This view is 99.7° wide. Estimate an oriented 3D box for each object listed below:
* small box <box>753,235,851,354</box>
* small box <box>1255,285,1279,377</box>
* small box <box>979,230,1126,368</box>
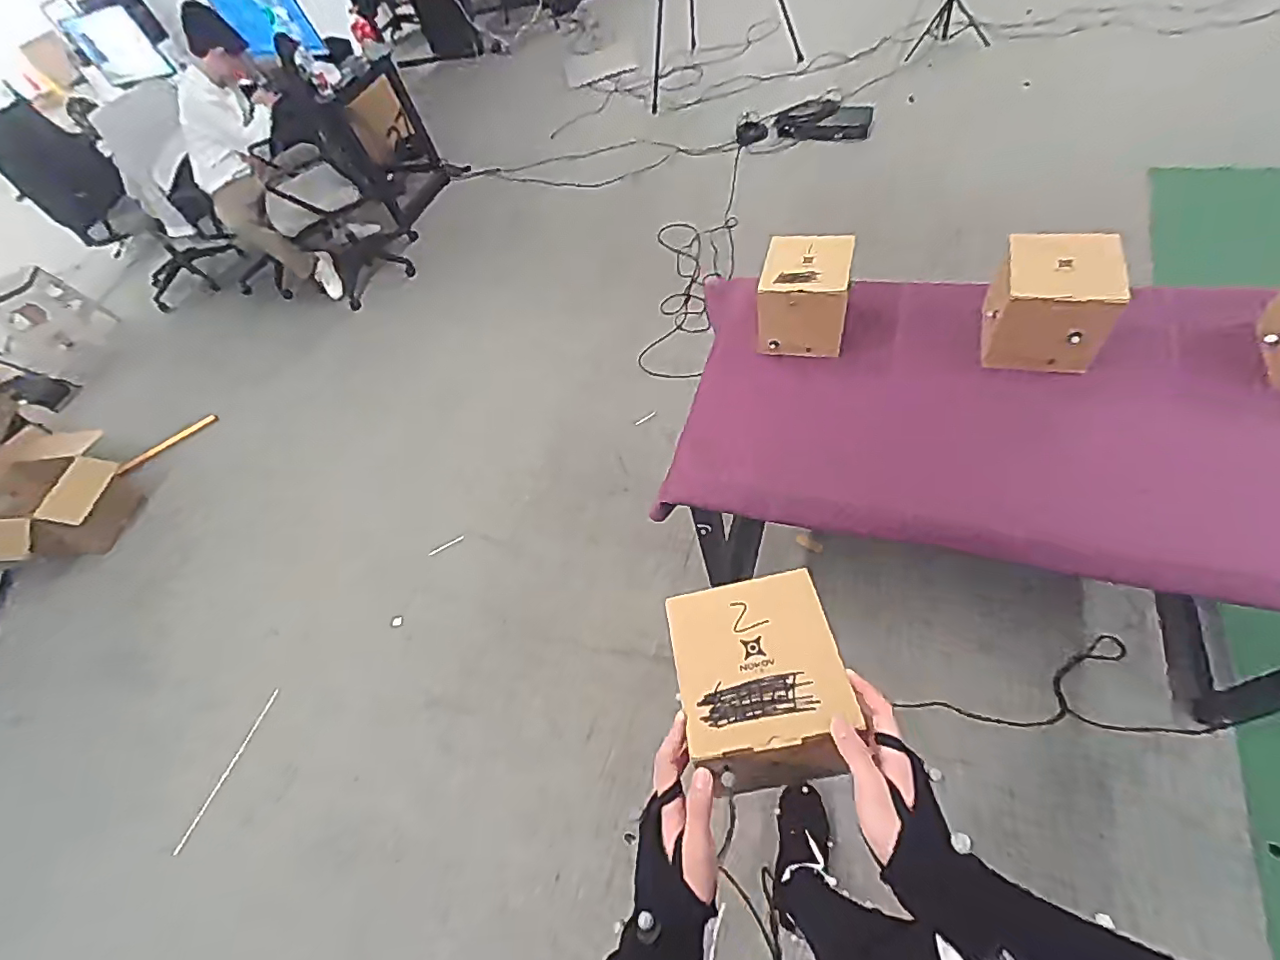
[{"bbox_3d":[0.336,-0.380,1.121,0.168,0.176,0.179,8,59,19],"label":"small box"},{"bbox_3d":[1.110,-0.252,0.821,0.168,0.176,0.179,10,61,21],"label":"small box"},{"bbox_3d":[0.731,-0.323,0.977,0.168,0.176,0.179,9,60,20],"label":"small box"}]
